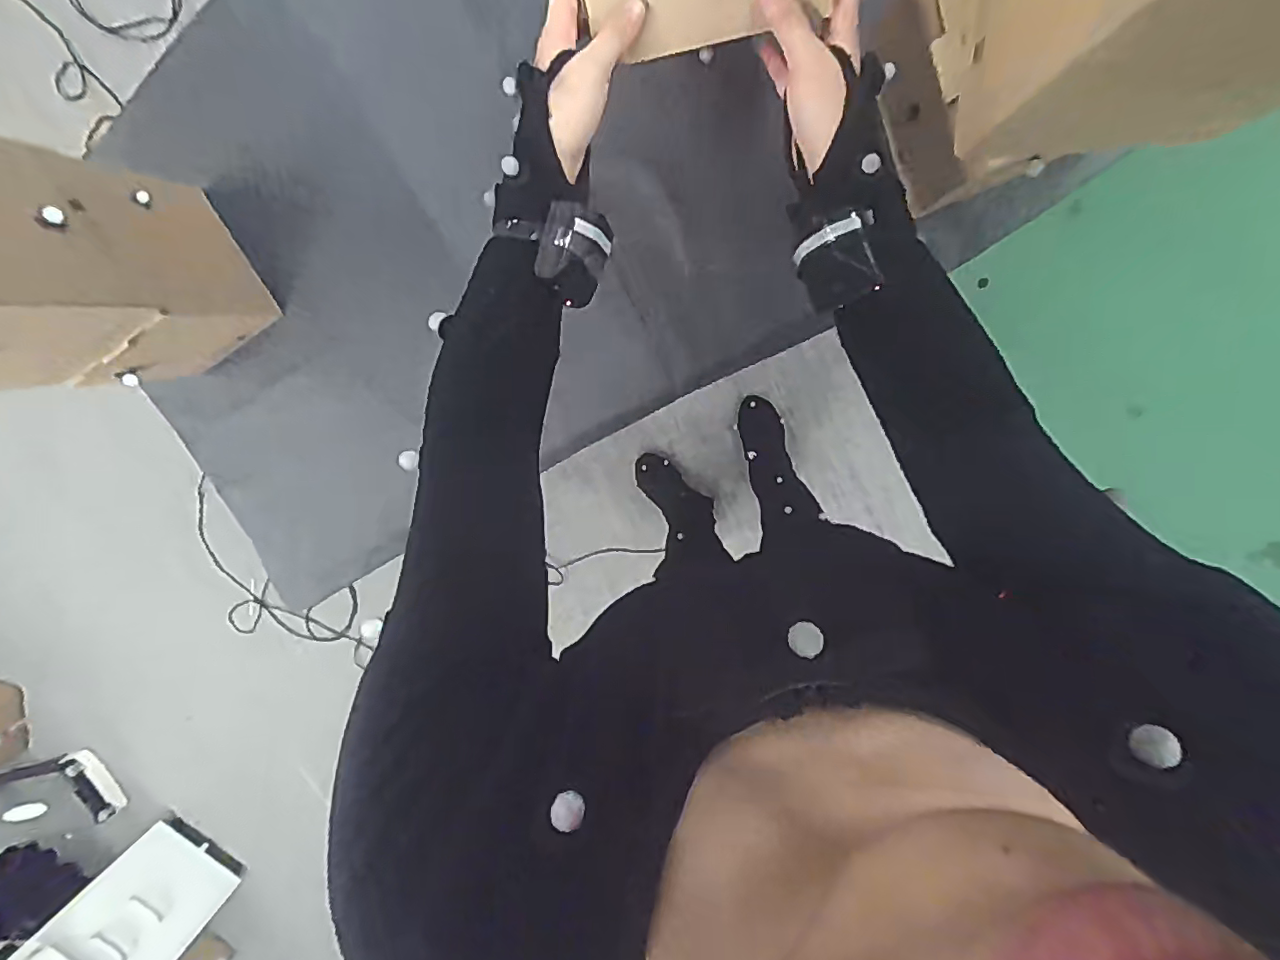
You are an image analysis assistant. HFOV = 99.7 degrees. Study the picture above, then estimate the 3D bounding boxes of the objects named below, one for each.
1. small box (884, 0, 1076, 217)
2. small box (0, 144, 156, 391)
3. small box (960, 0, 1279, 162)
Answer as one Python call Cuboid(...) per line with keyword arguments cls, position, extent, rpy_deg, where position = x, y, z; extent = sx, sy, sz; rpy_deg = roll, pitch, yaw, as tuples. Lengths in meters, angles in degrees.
Cuboid(cls="small box", position=(0.327, -0.353, 0.462), extent=(0.179, 0.176, 0.168), rpy_deg=(-20, 100, 15))
Cuboid(cls="small box", position=(-0.601, -0.181, 0.476), extent=(0.179, 0.176, 0.168), rpy_deg=(-26, 103, 14))
Cuboid(cls="small box", position=(0.312, -0.299, 0.308), extent=(0.179, 0.176, 0.168), rpy_deg=(1, 104, 8))
